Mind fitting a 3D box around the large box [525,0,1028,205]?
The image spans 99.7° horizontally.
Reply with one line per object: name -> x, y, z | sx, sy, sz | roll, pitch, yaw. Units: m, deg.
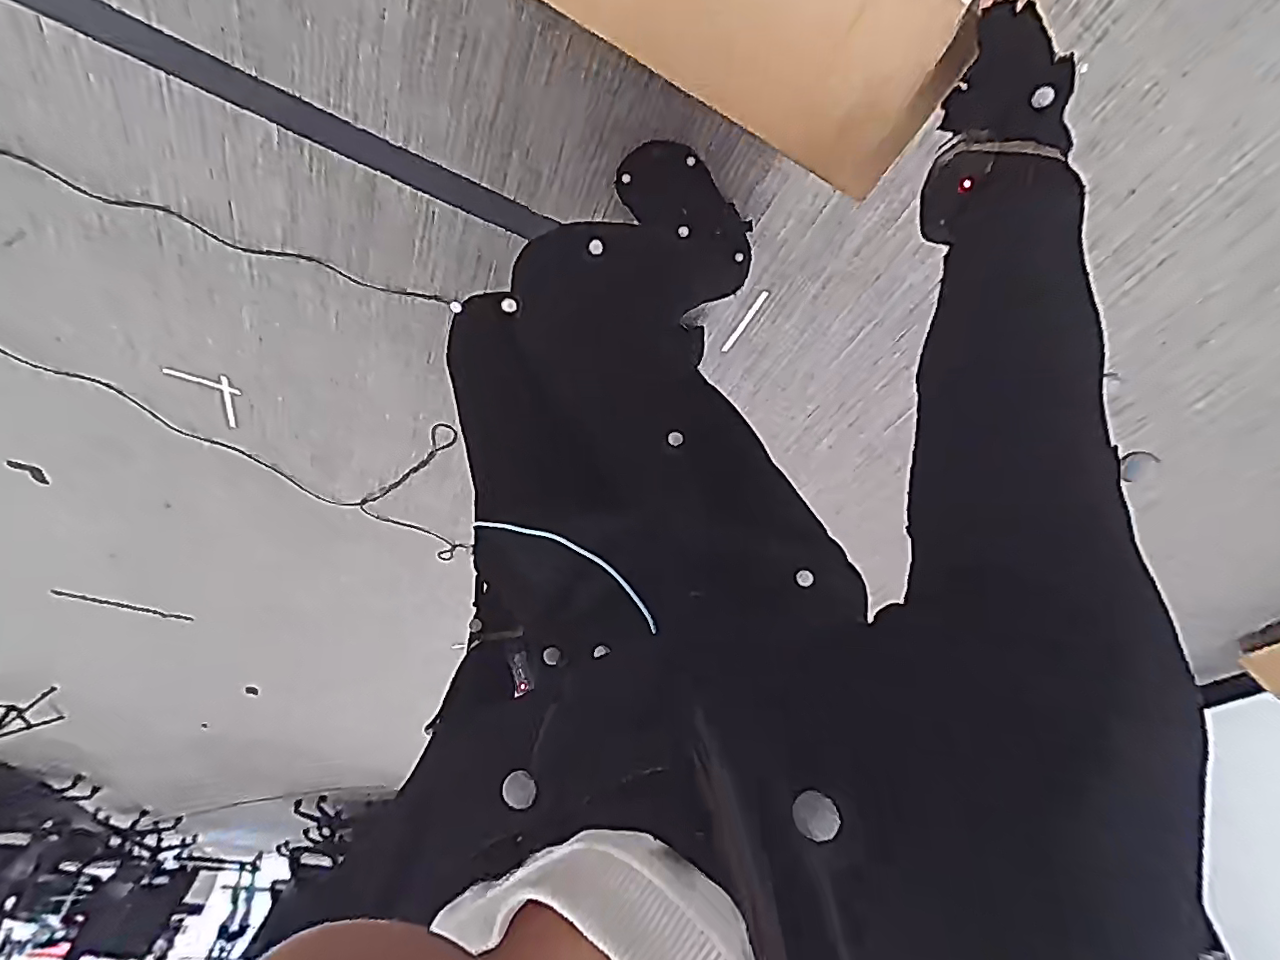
large box -> 0.125, -0.538, 0.488 | 0.408, 0.320, 0.320 | 21, 133, -18
